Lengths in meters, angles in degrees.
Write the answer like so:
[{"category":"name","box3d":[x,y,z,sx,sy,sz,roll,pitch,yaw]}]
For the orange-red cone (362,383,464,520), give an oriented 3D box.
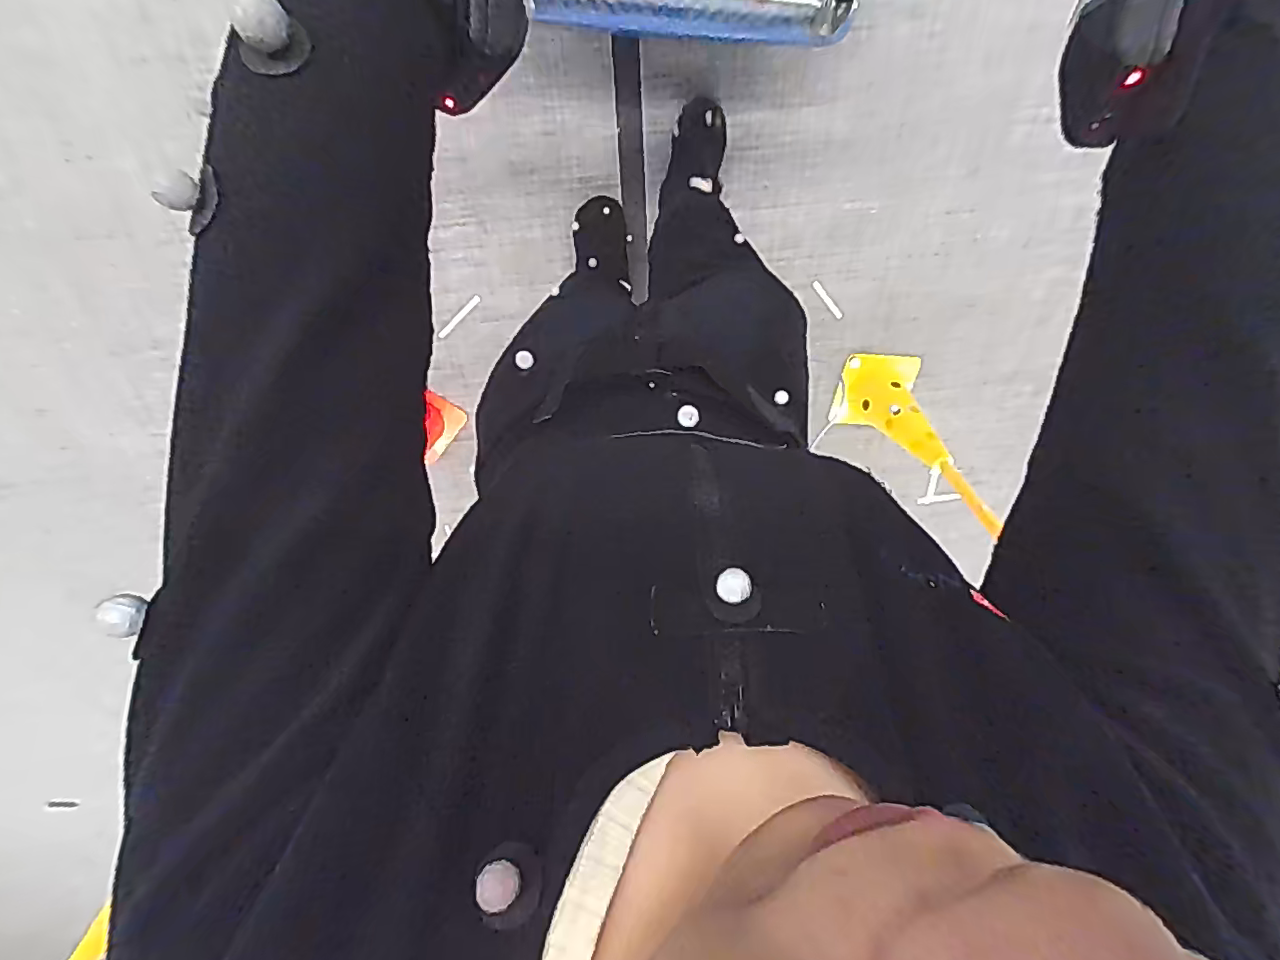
[{"category":"orange-red cone","box3d":[-0.556,-0.036,1.230,0.198,0.360,0.199,34,115,-27]}]
